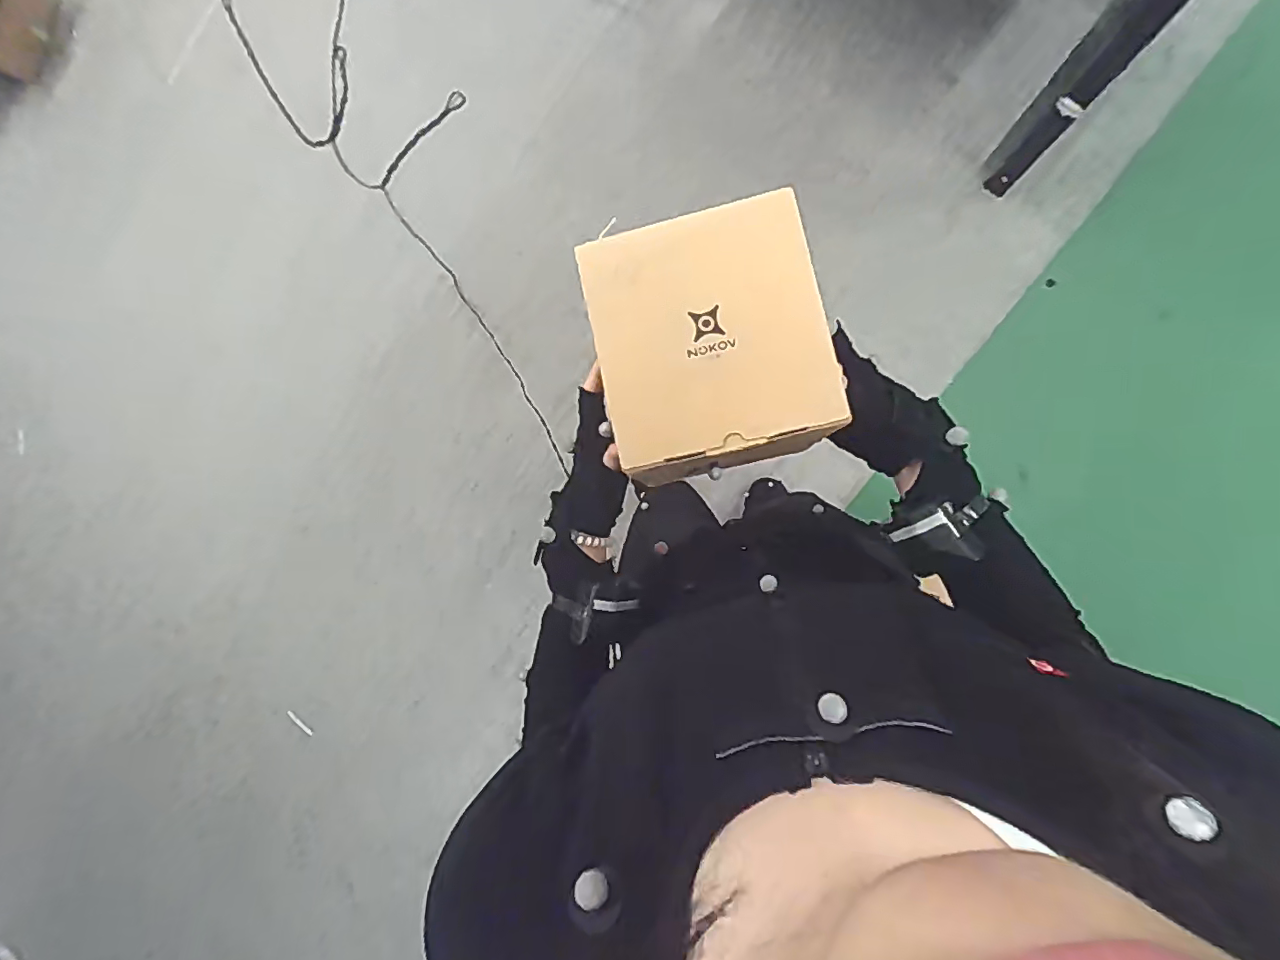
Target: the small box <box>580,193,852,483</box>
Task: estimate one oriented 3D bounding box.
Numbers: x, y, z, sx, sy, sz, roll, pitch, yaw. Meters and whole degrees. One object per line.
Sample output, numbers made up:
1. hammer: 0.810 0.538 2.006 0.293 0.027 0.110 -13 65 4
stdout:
1. small box: 0.057 -0.102 0.468 0.168 0.176 0.179 -14 86 4
